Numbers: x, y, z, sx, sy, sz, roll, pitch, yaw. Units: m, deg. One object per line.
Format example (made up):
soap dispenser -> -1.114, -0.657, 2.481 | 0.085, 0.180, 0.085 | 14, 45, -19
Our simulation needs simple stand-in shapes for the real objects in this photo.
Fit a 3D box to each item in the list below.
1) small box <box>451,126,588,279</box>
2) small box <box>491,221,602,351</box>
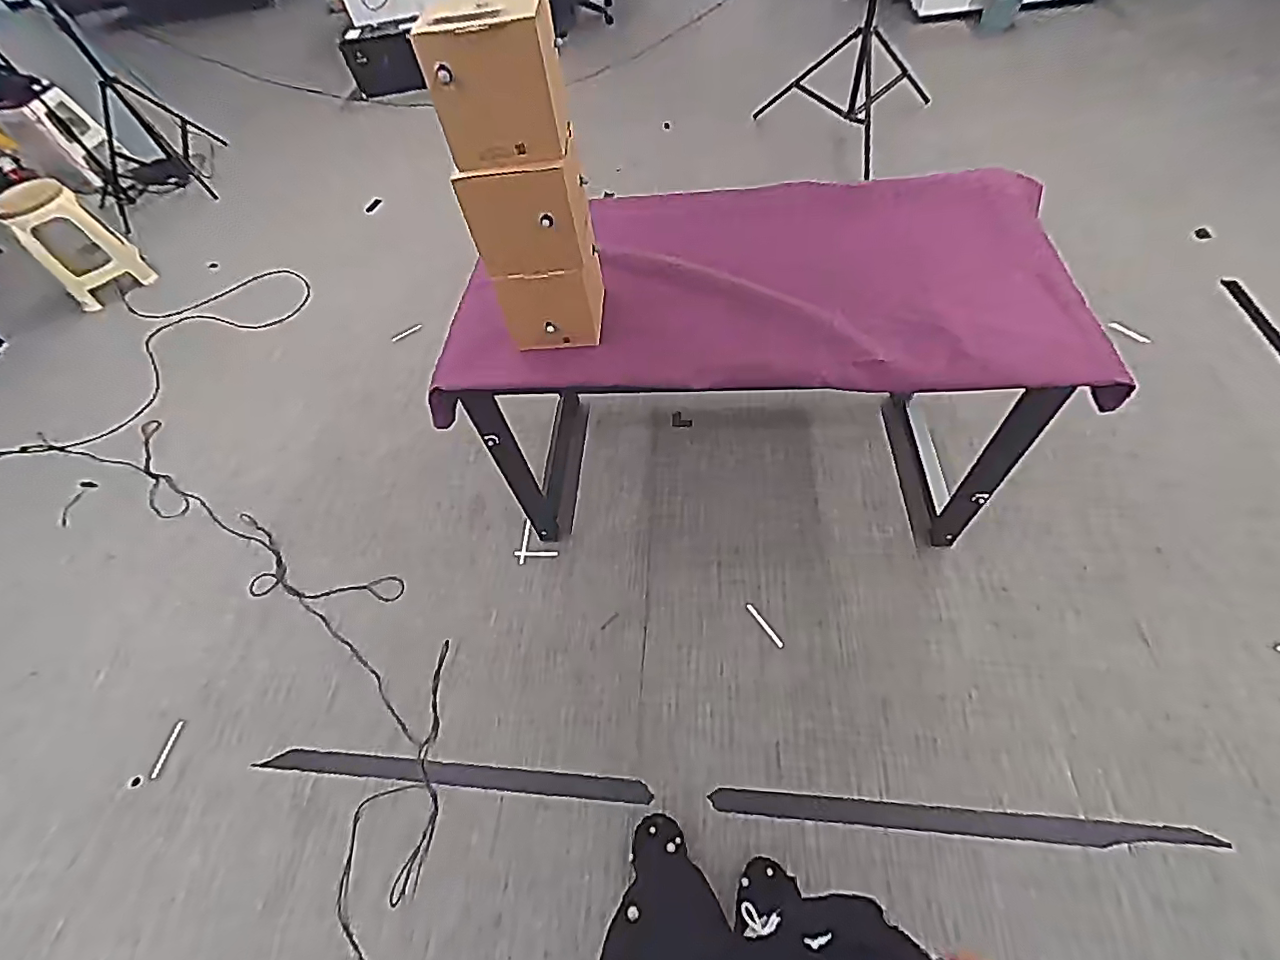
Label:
small box -> -0.190, -0.466, 0.918 | 0.179, 0.176, 0.168 | -4, 54, 6
small box -> -0.171, -0.374, 1.051 | 0.168, 0.176, 0.179 | -3, 56, 6
